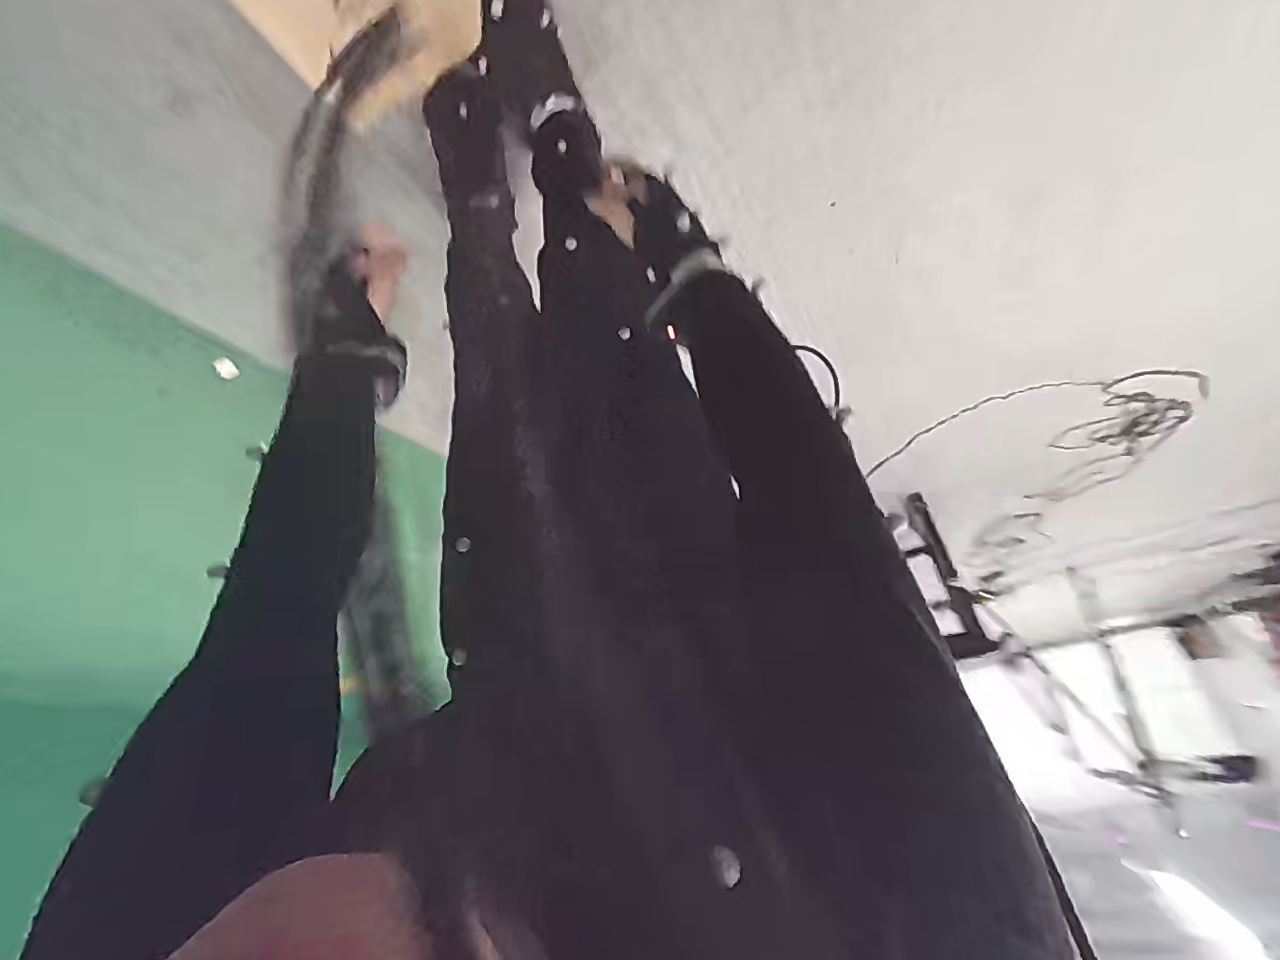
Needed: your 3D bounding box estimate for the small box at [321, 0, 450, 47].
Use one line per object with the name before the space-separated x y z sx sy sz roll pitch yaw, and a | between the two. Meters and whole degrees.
small box | -0.304 -0.645 0.598 0.168 0.176 0.179 -17 151 11
